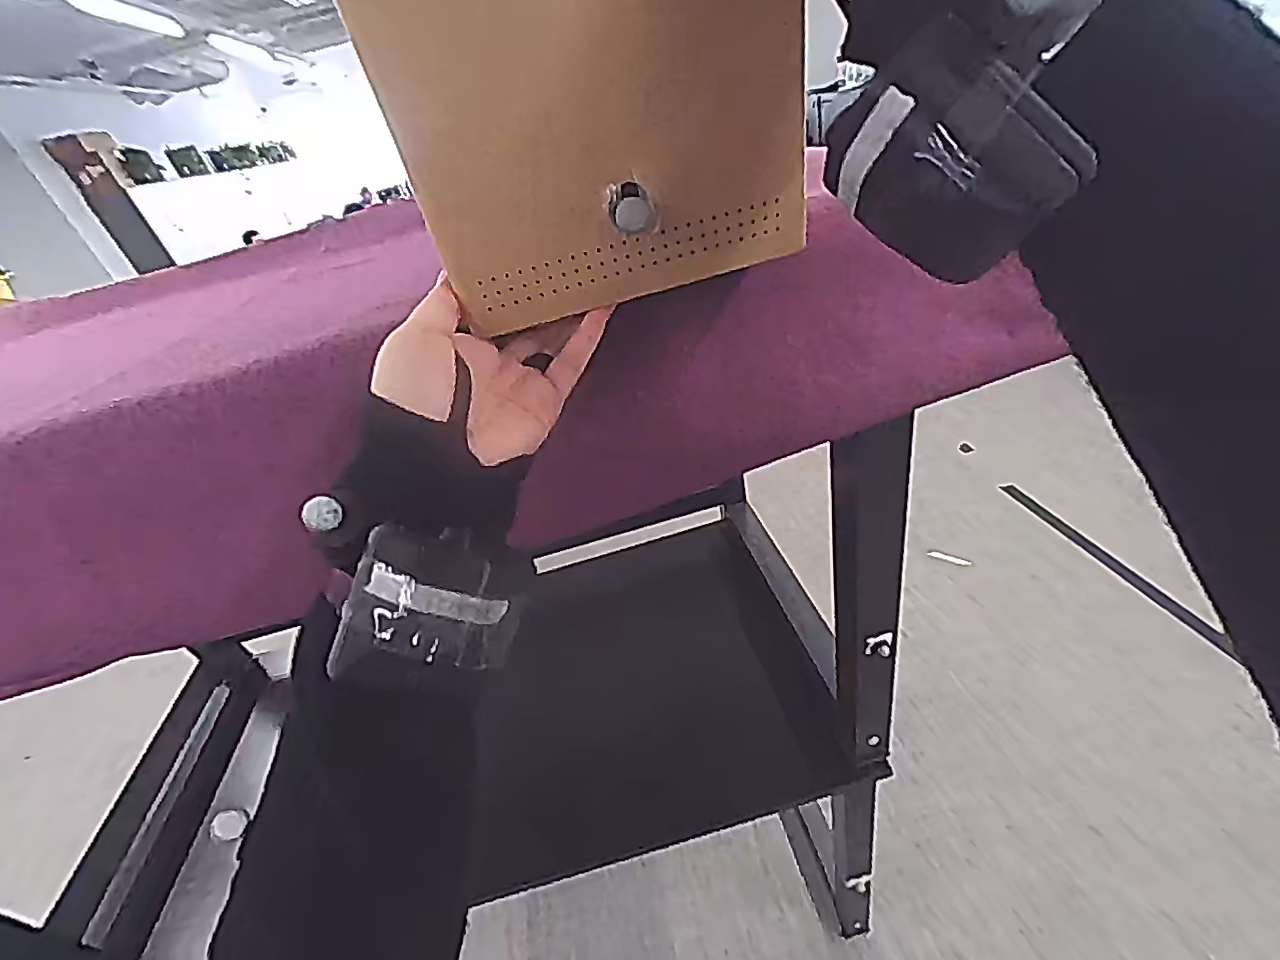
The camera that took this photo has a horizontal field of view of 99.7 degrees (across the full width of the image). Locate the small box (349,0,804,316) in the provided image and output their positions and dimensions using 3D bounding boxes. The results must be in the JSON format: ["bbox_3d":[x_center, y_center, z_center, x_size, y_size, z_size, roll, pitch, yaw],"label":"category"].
[{"bbox_3d":[-0.030,-0.207,0.276,0.179,0.176,0.168,-17,39,-5],"label":"small box"}]
